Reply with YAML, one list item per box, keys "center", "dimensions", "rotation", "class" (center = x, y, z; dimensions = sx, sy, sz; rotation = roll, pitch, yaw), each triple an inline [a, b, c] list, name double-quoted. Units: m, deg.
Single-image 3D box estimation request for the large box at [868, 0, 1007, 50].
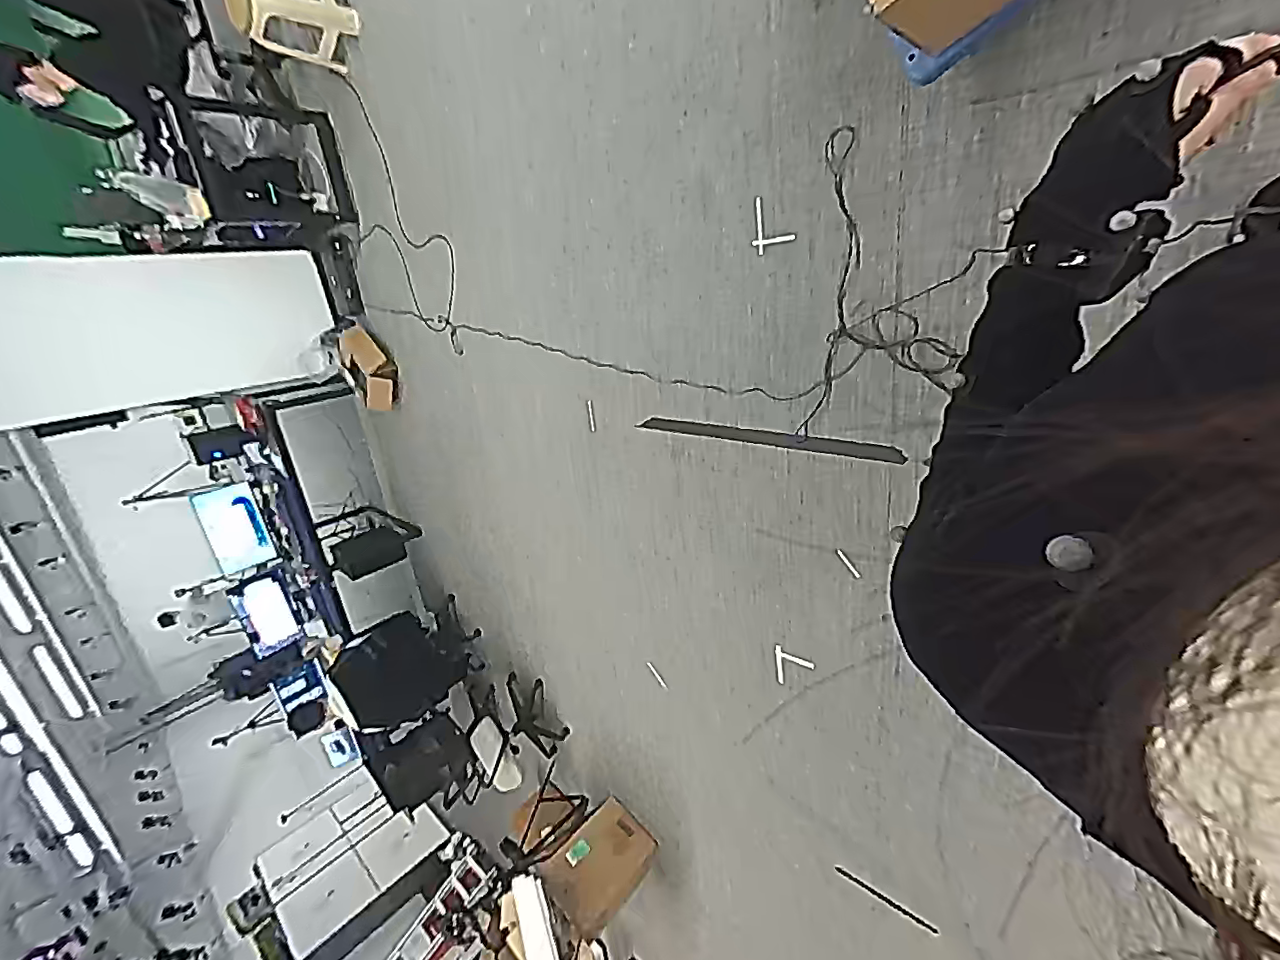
- center: [0.533, -0.937, 0.768]
  dimensions: [0.408, 0.320, 0.320]
  rotation: [-16, 97, 48]
  class: "large box"
